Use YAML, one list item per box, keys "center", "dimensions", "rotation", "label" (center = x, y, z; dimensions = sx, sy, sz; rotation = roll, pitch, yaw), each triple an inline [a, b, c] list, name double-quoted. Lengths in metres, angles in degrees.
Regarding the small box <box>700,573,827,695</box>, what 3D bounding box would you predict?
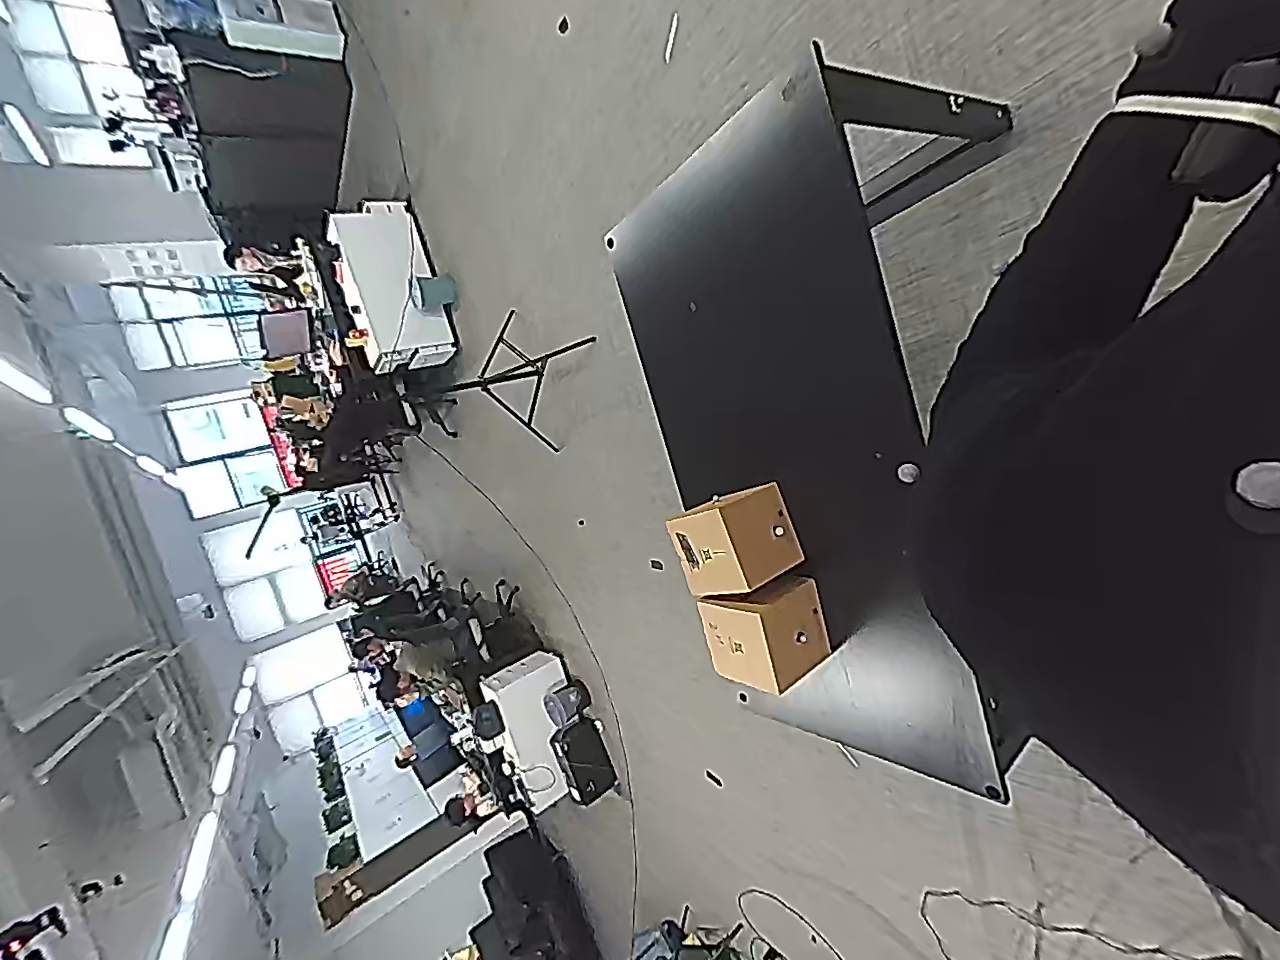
- center: [0.253, 0.297, 1.087]
  dimensions: [0.179, 0.176, 0.168]
  rotation: [-5, 101, 56]
  label: "small box"
